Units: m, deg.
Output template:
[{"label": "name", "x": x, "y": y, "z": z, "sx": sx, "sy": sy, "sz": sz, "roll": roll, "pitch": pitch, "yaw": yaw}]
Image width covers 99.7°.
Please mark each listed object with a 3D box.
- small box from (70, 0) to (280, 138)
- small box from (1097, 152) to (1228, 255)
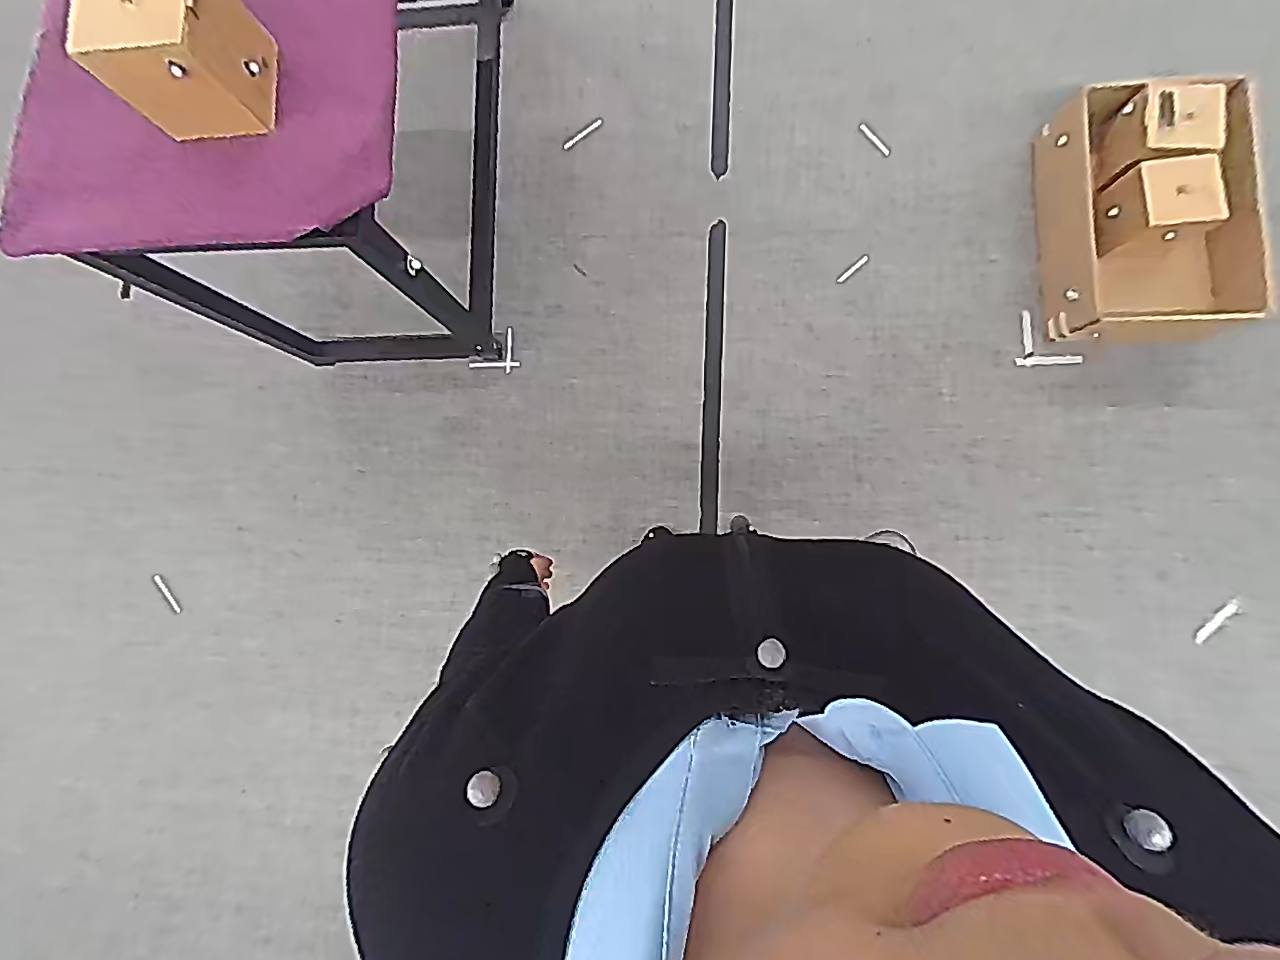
[{"label": "small box", "x": -0.699, "y": -0.661, "z": 0.830, "sx": 0.179, "sy": 0.176, "sz": 0.168, "roll": -3, "pitch": 84, "yaw": 4}, {"label": "small box", "x": 1.303, "y": -0.688, "z": 1.366, "sx": 0.179, "sy": 0.176, "sz": 0.168, "roll": -4, "pitch": 86, "yaw": 4}]
